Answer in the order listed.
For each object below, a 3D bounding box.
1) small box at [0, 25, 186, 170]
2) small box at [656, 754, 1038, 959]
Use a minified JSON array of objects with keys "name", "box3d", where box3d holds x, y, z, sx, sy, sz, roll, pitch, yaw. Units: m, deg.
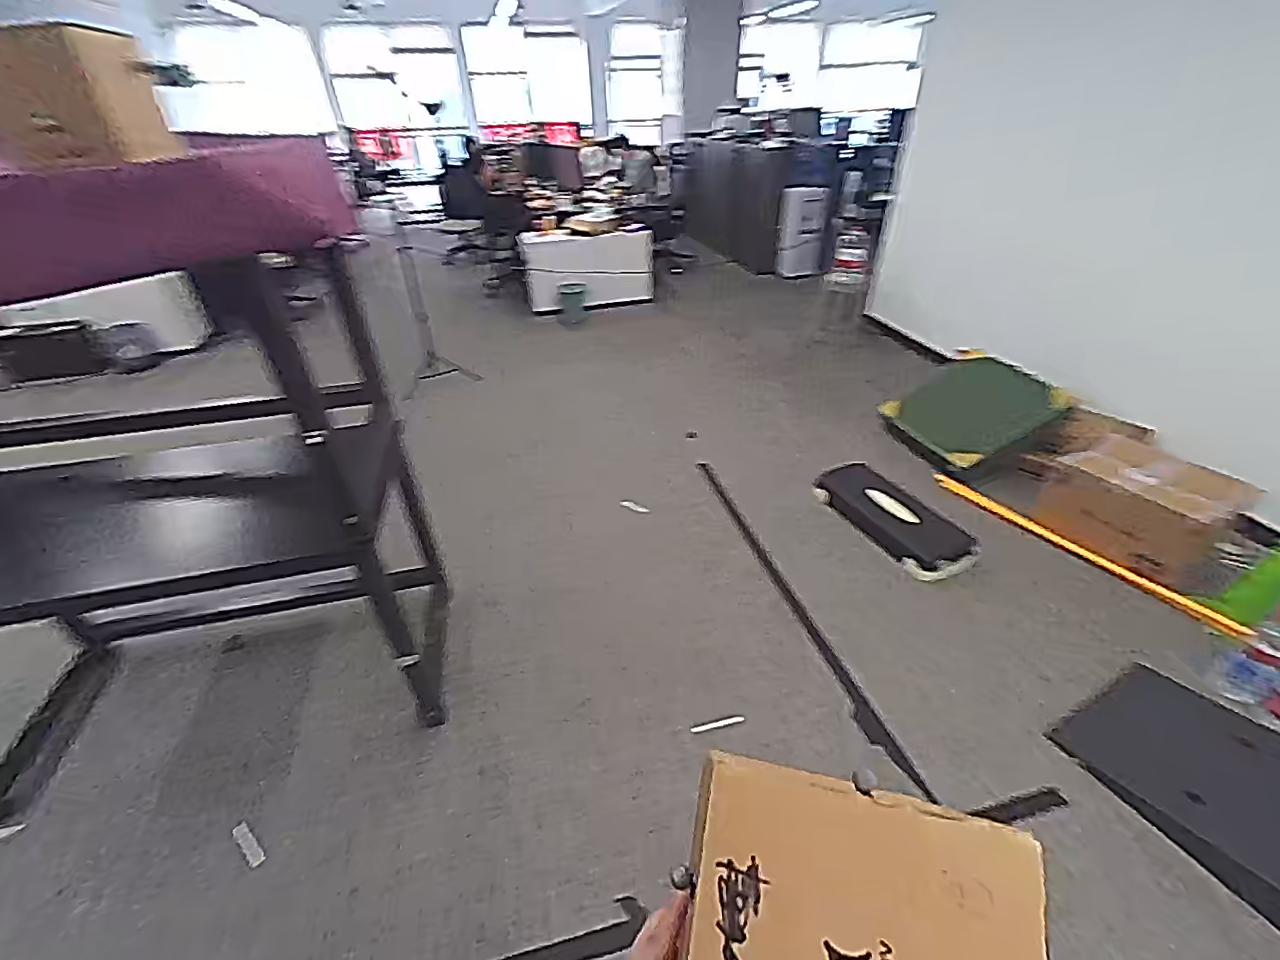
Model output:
[{"name":"small box","box3d":[-0.860,-0.584,0.837,0.168,0.176,0.179,-8,35,-7]},{"name":"small box","box3d":[0.106,0.275,0.333,0.179,0.176,0.168,9,66,8]}]
